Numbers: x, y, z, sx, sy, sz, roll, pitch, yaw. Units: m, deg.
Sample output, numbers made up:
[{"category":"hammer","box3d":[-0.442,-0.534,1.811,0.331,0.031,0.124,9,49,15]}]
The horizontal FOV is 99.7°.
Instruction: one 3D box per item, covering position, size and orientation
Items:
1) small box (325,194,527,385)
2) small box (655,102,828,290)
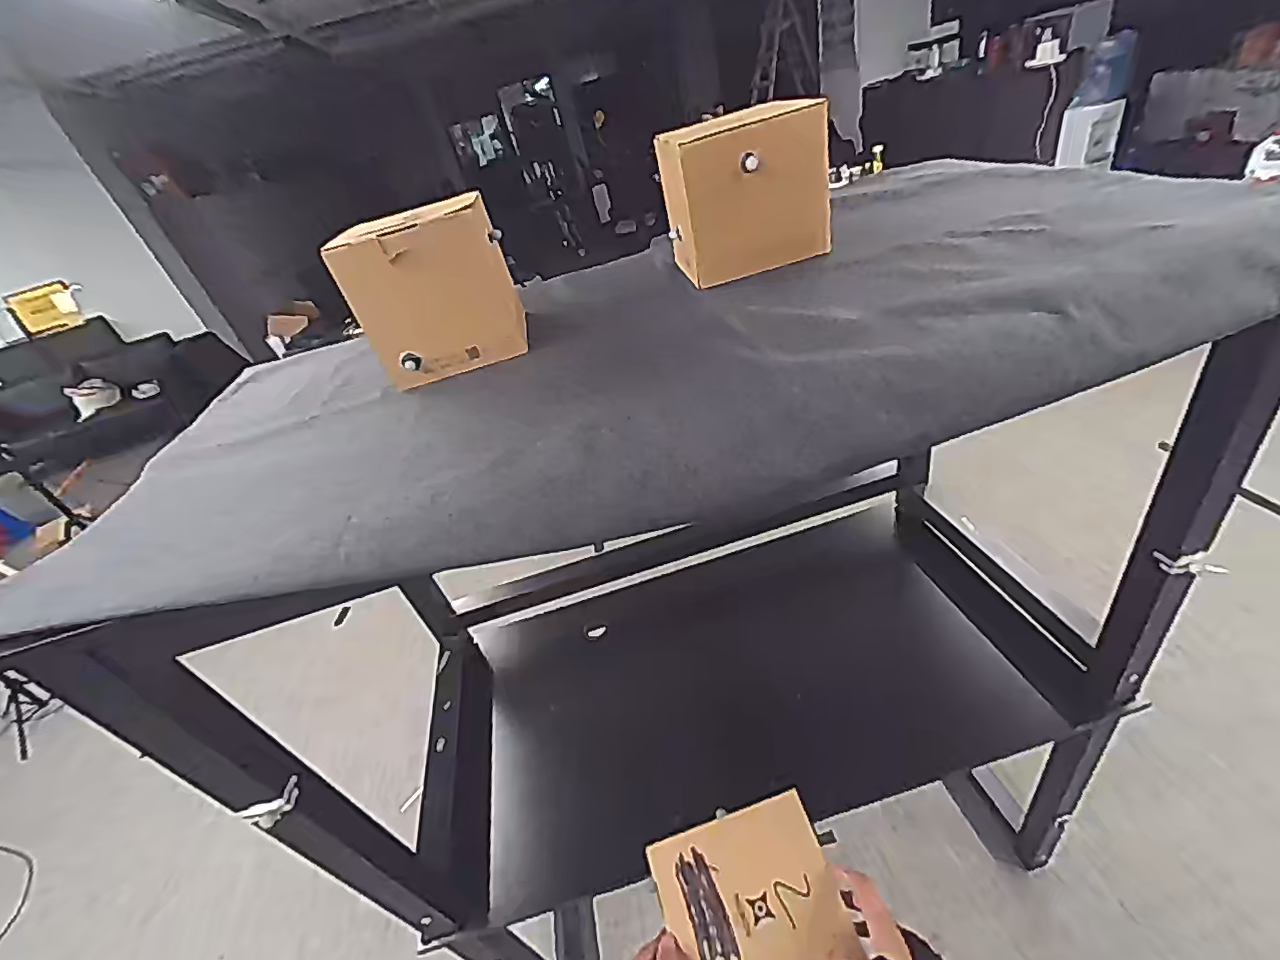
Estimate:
[{"category":"small box","box3d":[-0.247,-0.235,0.675,0.168,0.176,0.179,-18,34,-2]},{"category":"small box","box3d":[0.132,-0.372,0.709,0.179,0.176,0.168,-17,35,2]}]
